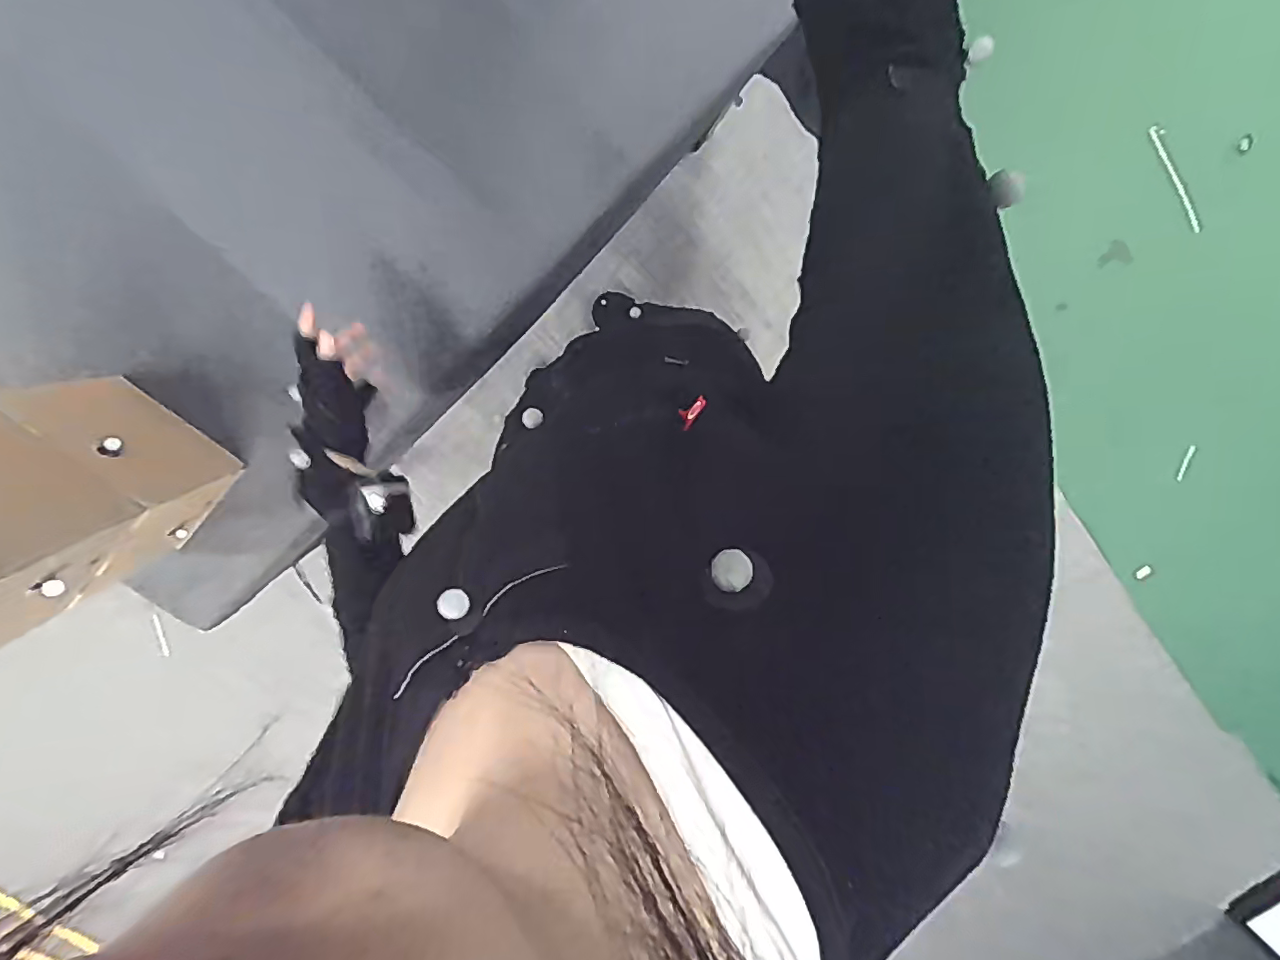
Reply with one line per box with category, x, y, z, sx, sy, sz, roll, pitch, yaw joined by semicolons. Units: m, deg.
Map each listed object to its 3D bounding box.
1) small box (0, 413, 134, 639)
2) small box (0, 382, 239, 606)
small box;-0.618;0.053;0.470;0.168;0.176;0.179;-43;106;8
small box;-0.630;0.003;0.624;0.179;0.176;0.168;42;100;-16
